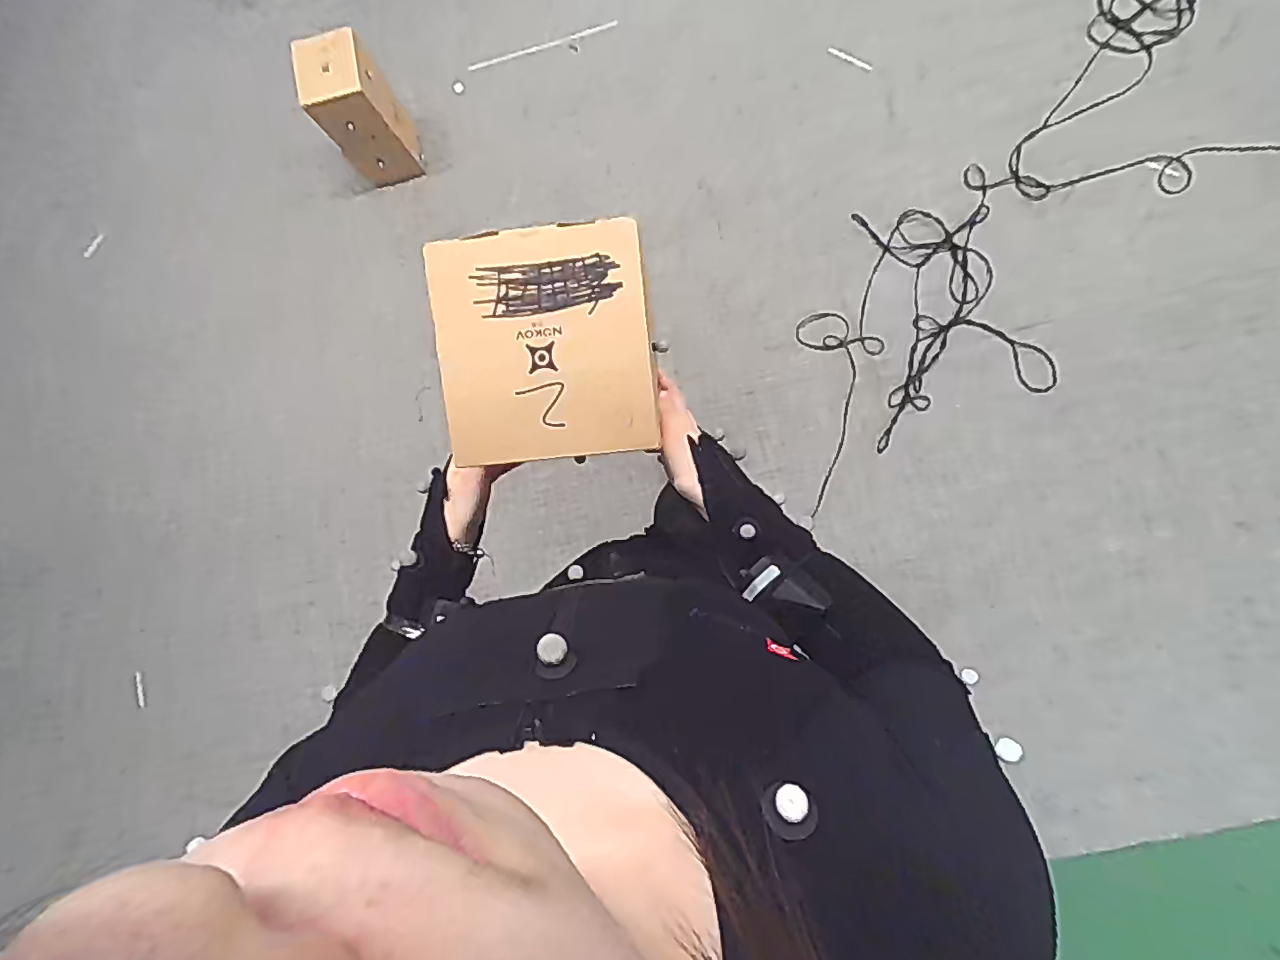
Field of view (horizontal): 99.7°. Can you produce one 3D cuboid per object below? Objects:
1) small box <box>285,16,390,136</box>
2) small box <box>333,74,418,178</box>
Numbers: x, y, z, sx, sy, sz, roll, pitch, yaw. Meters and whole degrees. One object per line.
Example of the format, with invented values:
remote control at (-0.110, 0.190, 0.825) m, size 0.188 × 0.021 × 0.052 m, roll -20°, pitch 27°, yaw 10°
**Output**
small box at (-0.770, -1.024, 1.393) m, size 0.168 × 0.176 × 0.179 m, roll -11°, pitch 86°, yaw 4°
small box at (-0.761, -1.012, 1.557) m, size 0.179 × 0.176 × 0.168 m, roll -12°, pitch 86°, yaw 5°
